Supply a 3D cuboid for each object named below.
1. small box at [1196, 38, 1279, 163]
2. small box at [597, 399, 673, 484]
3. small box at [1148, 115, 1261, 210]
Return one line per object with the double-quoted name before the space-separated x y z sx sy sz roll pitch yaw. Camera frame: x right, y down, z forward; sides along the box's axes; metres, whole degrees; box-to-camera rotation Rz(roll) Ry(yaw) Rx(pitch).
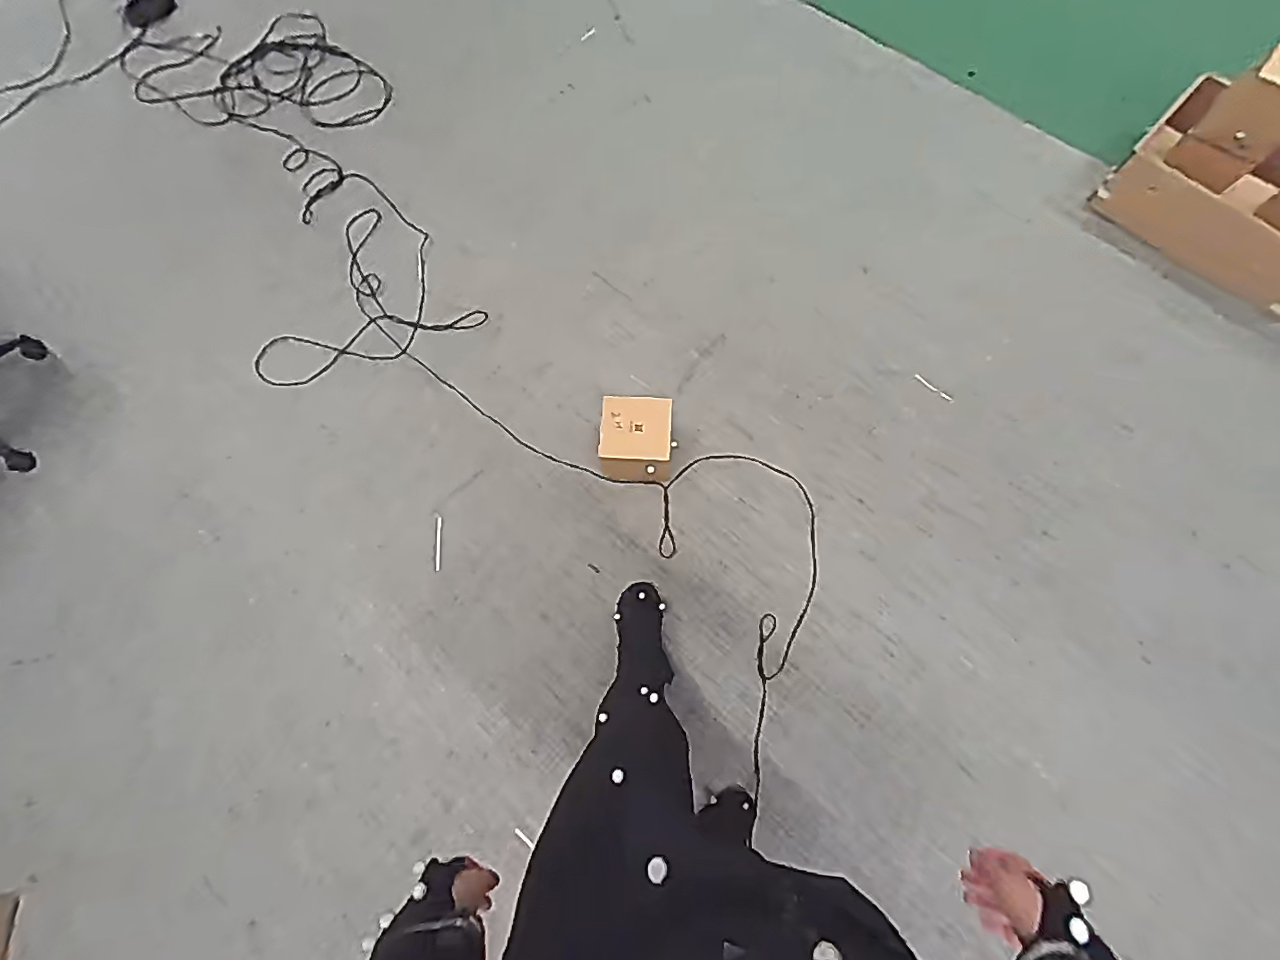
"small box" 1.578 -0.953 1.359 0.168 0.176 0.179 36 80 12
"small box" -0.009 -0.094 1.391 0.179 0.176 0.168 3 72 4
"small box" 1.600 -0.910 1.517 0.168 0.176 0.179 38 79 12
